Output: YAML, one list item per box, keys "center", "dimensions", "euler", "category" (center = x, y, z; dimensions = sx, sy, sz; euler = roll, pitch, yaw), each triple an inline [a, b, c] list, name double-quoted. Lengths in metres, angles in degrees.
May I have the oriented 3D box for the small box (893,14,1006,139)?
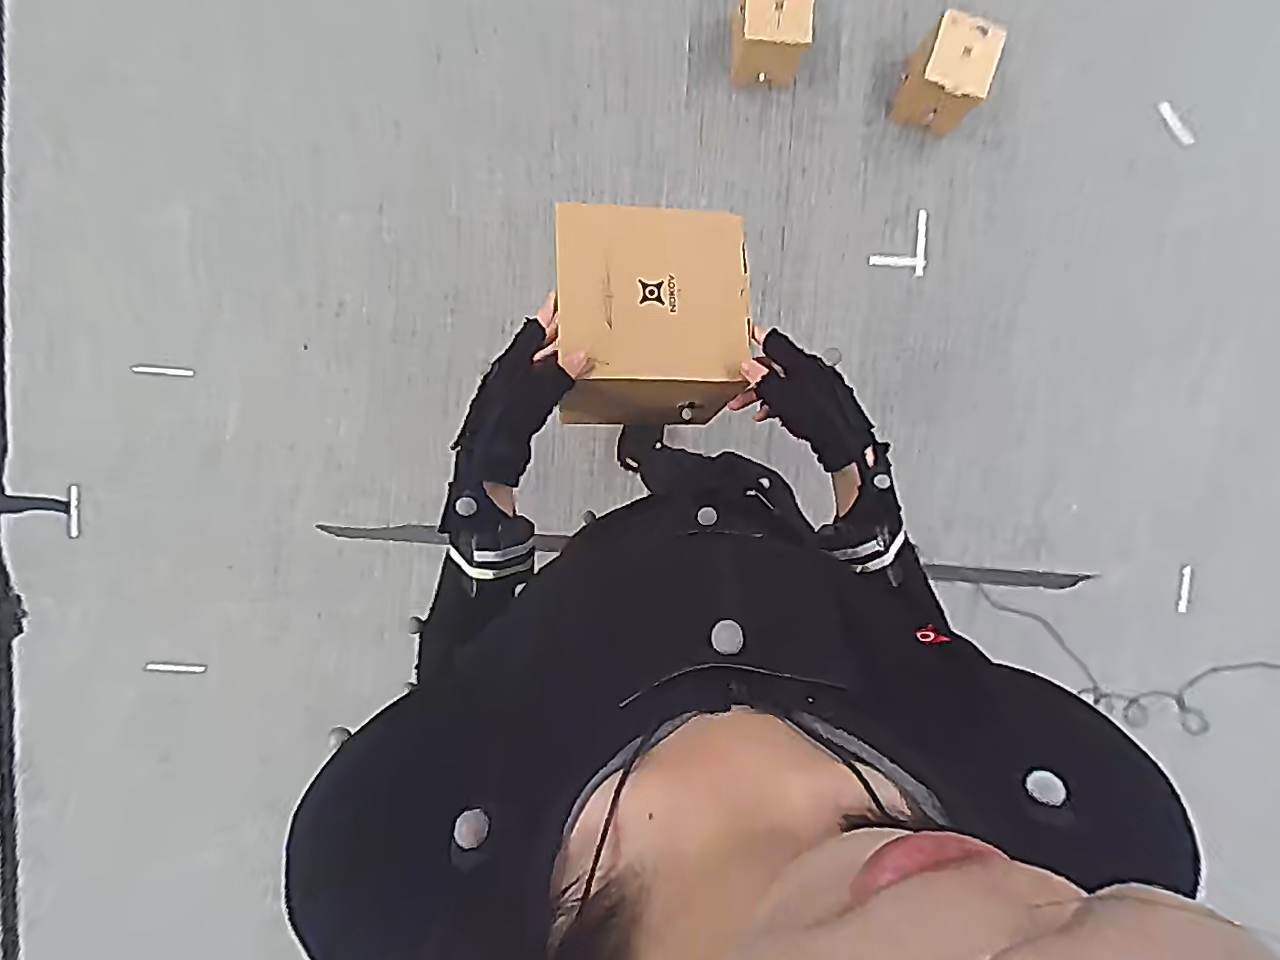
- center: [0.786, -1.028, 1.395]
  dimensions: [0.168, 0.176, 0.179]
  euler: [18, 93, -4]
  category: "small box"

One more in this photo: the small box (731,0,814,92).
- center: [0.329, -1.131, 1.366]
  dimensions: [0.168, 0.176, 0.179]
  euler: [2, 94, -3]
  category: "small box"

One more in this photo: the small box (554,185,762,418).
- center: [0.005, -0.164, 0.546]
  dimensions: [0.179, 0.176, 0.168]
  euler: [-2, 81, -9]
  category: "small box"
